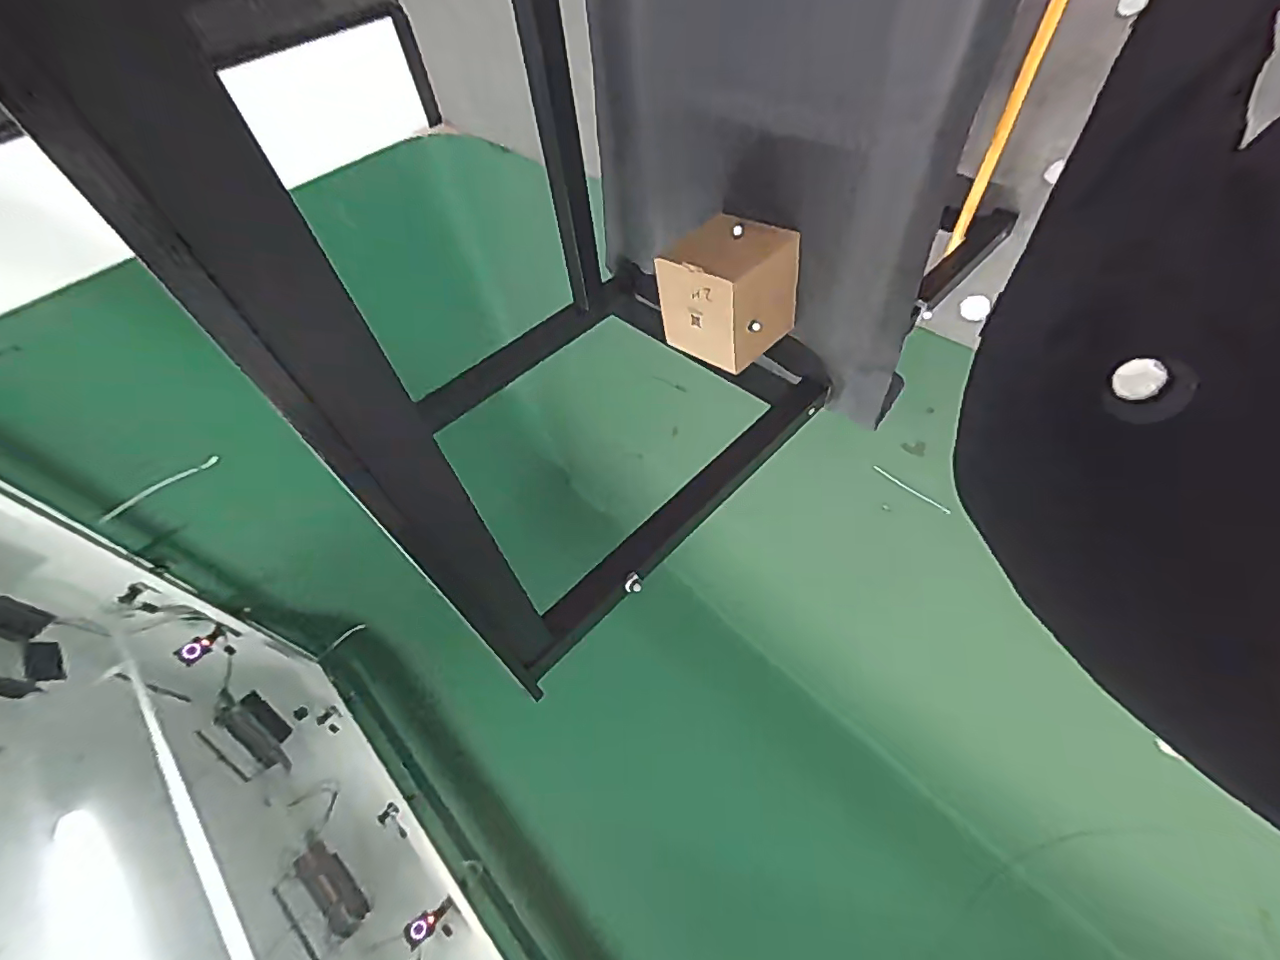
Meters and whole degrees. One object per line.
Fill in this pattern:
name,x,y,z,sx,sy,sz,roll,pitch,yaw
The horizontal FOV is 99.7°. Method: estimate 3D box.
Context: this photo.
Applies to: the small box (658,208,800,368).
small box,0.156,-0.331,0.927,0.168,0.176,0.179,34,154,33
